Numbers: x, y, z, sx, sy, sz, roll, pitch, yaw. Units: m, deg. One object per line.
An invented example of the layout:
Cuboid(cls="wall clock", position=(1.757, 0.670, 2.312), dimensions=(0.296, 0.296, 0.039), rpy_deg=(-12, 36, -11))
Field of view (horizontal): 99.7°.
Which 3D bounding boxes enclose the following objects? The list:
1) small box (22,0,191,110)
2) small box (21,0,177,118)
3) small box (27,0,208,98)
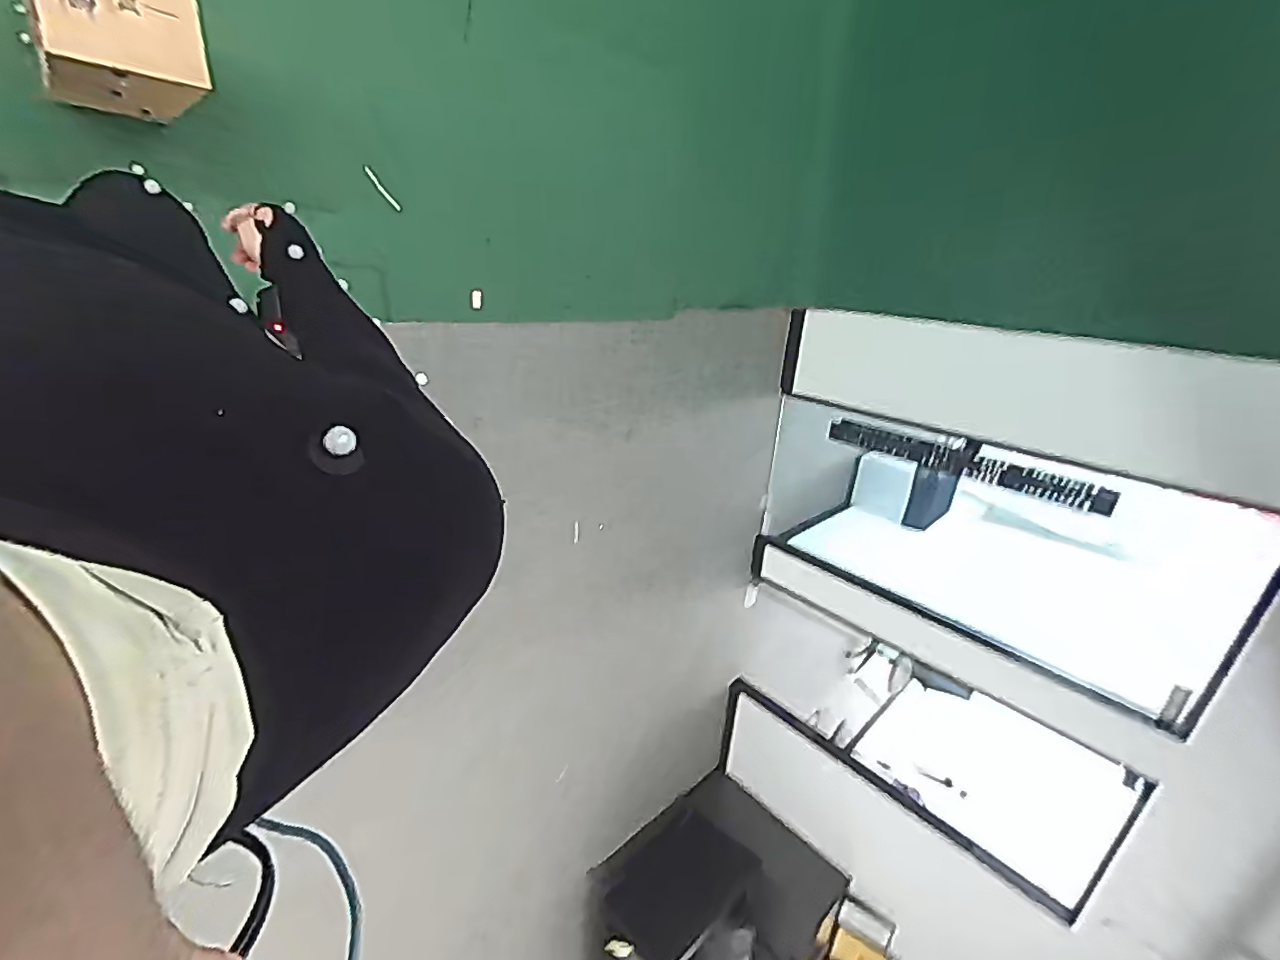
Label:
Cuboid(cls="small box", position=(-0.869, -0.723, 0.880), dimensions=(0.179, 0.176, 0.168), rpy_deg=(-14, 119, -42))
Cuboid(cls="small box", position=(-0.981, -0.778, 0.983), dimensions=(0.179, 0.176, 0.168), rpy_deg=(-14, 118, -43))
Cuboid(cls="small box", position=(-0.754, -0.672, 0.773), dimensions=(0.179, 0.176, 0.168), rpy_deg=(-15, 120, -43))
